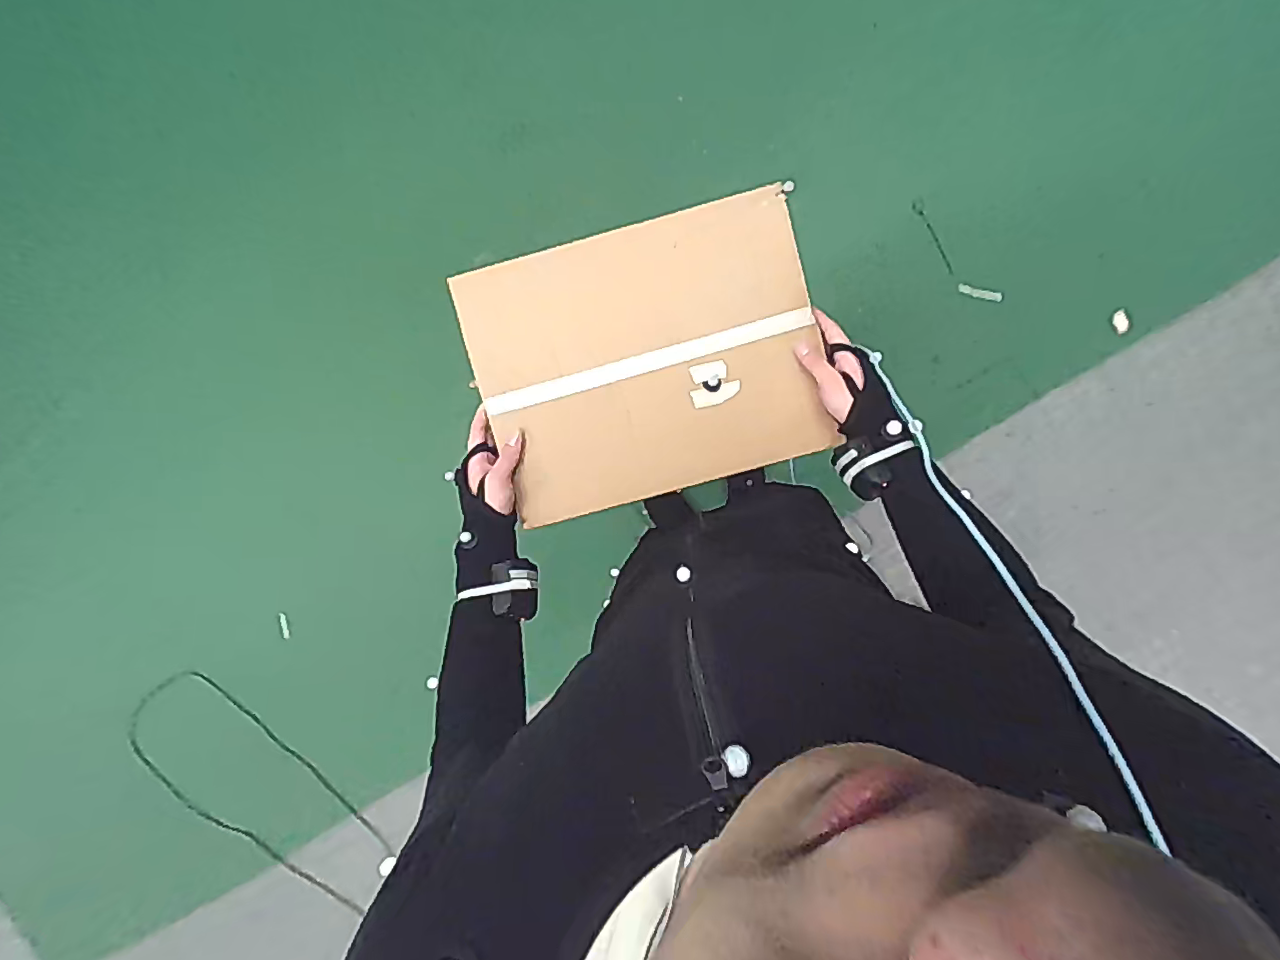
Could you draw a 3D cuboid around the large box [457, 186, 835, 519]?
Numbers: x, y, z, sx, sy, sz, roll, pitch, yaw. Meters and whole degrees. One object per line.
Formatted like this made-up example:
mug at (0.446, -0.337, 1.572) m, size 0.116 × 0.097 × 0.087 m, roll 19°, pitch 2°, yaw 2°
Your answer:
large box at (0.007, -0.159, 0.800) m, size 0.408 × 0.320 × 0.320 m, roll -15°, pitch 95°, yaw 1°
